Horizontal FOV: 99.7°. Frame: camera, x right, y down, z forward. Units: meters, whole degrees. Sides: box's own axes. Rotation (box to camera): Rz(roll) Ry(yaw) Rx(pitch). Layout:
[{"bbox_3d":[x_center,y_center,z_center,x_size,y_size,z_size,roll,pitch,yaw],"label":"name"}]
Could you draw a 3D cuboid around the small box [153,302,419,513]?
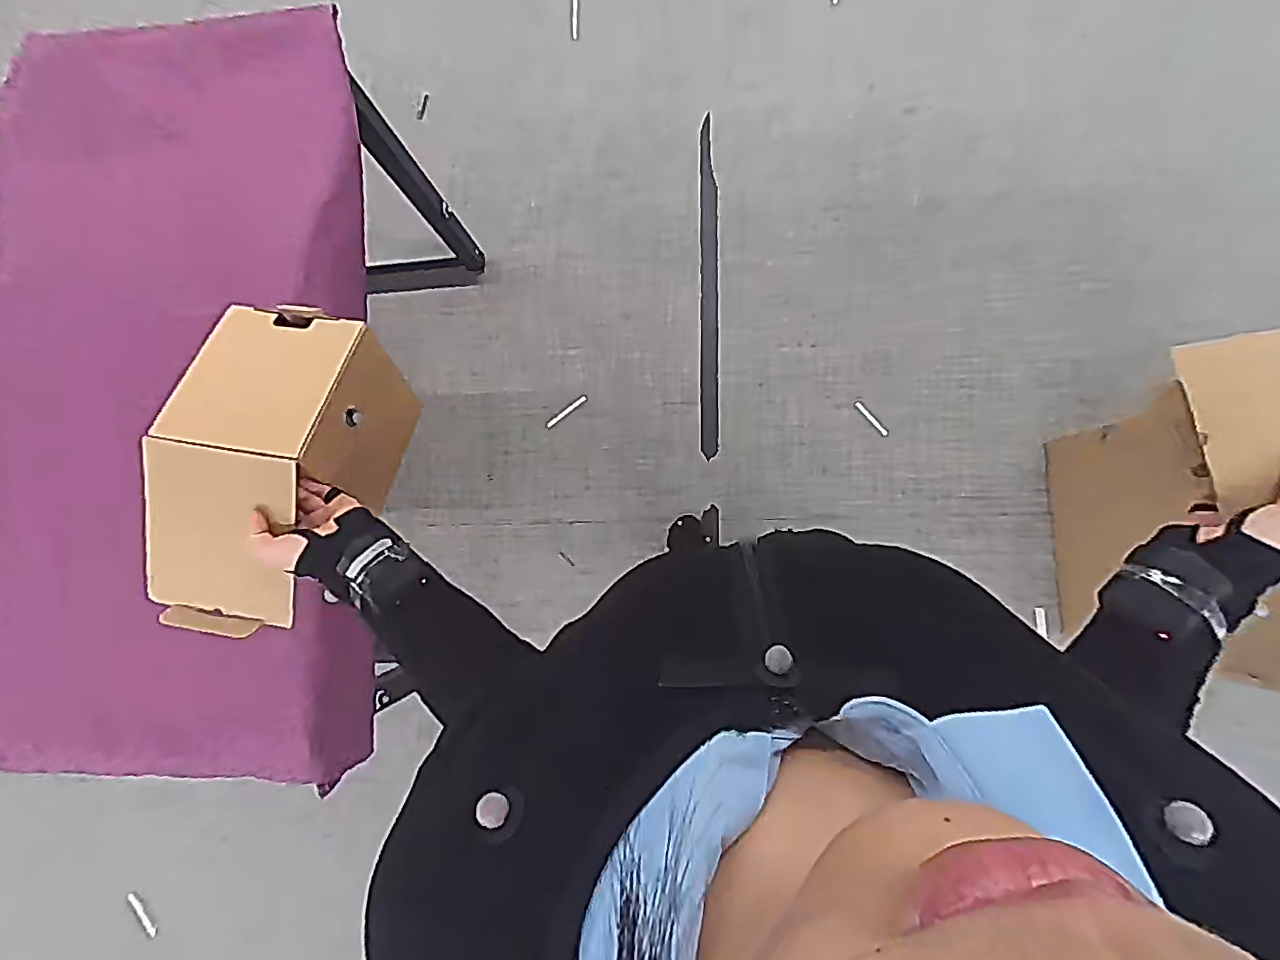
[{"bbox_3d":[-0.388,-0.076,0.636,0.168,0.176,0.179,9,65,5],"label":"small box"}]
